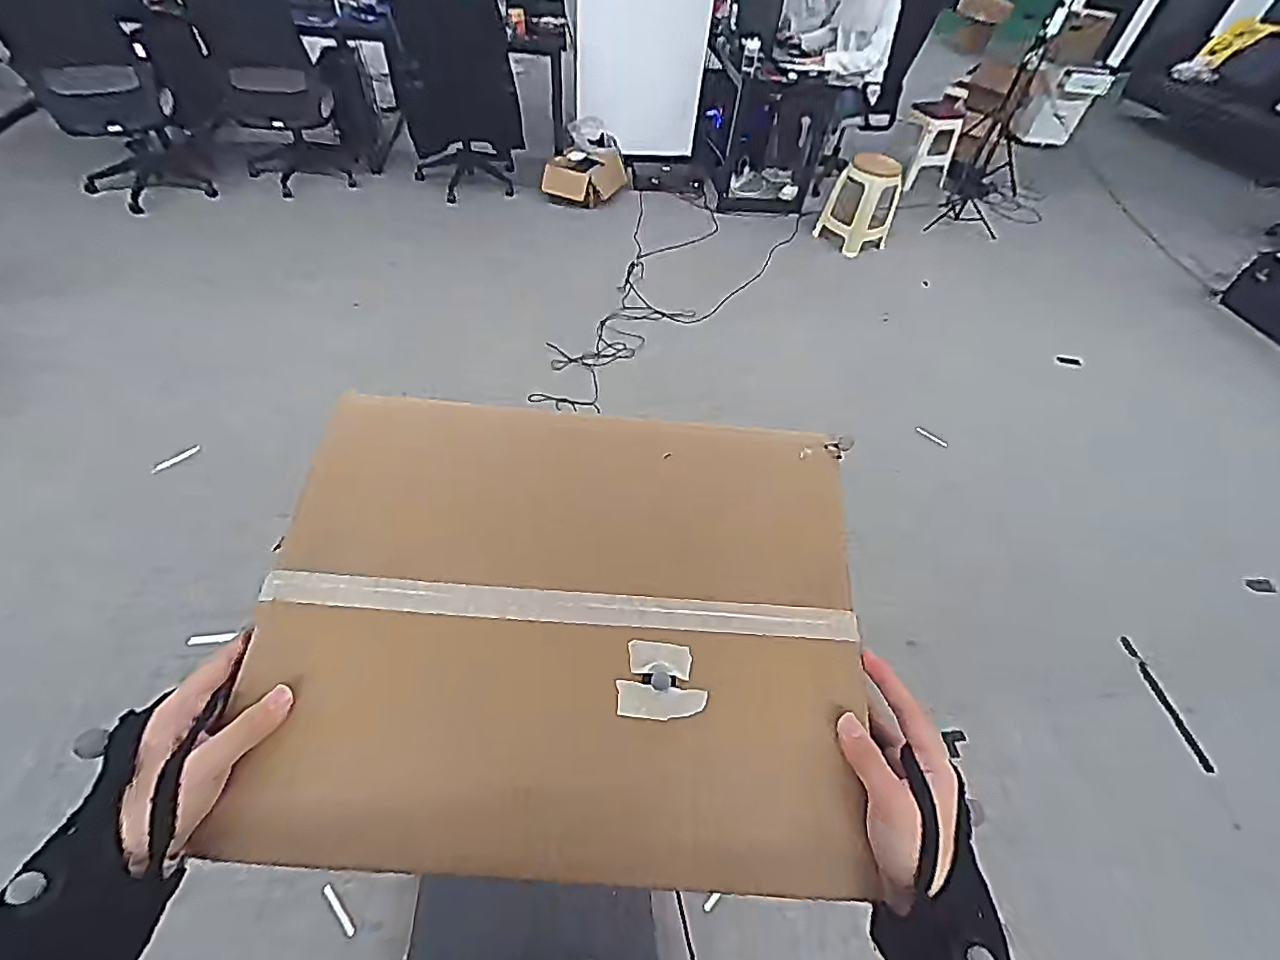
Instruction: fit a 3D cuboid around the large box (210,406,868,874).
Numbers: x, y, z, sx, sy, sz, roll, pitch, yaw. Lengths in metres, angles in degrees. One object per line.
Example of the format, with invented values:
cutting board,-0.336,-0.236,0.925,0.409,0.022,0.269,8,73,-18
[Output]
large box,-0.060,0.153,0.520,0.408,0.320,0.320,5,65,-2
